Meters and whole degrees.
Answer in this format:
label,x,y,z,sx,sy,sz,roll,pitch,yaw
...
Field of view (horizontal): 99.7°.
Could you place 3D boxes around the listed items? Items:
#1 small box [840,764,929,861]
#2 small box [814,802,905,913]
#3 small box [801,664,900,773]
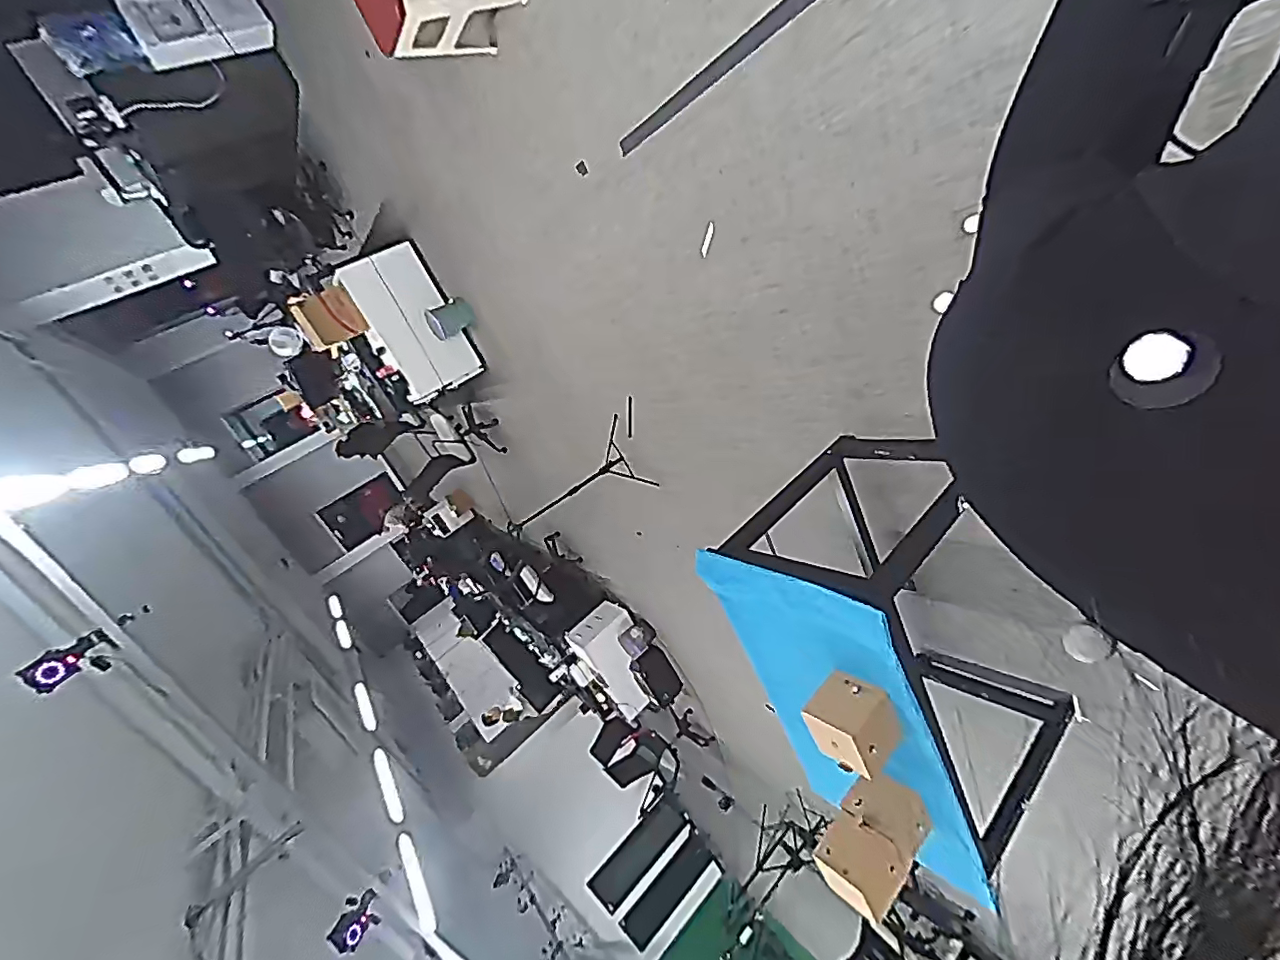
label,x,y,z,sx,sy,sz,roll,pitch,yaw
small box,0.755,1.017,1.668,0.179,0.176,0.168,8,131,54
small box,0.640,1.106,1.586,0.168,0.176,0.179,9,130,57
small box,0.581,0.646,1.482,0.168,0.176,0.179,7,129,57
